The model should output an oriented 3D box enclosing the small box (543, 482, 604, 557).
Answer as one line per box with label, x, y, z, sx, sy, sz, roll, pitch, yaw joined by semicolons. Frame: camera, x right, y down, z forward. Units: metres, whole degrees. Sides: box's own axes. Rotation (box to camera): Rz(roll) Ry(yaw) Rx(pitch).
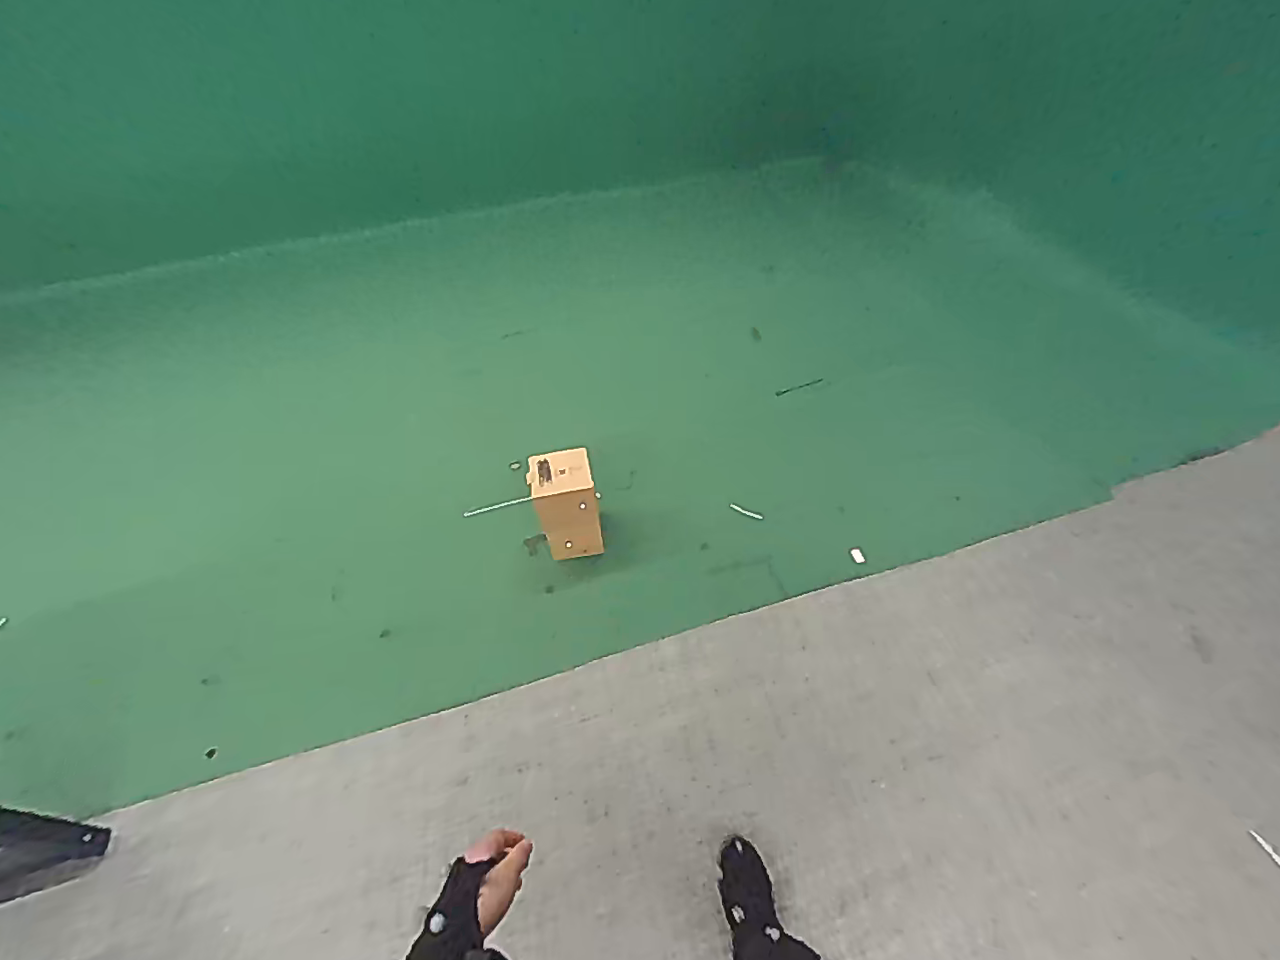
small box;-0.213;0.133;1.738;0.168;0.176;0.179;-9;49;-4
